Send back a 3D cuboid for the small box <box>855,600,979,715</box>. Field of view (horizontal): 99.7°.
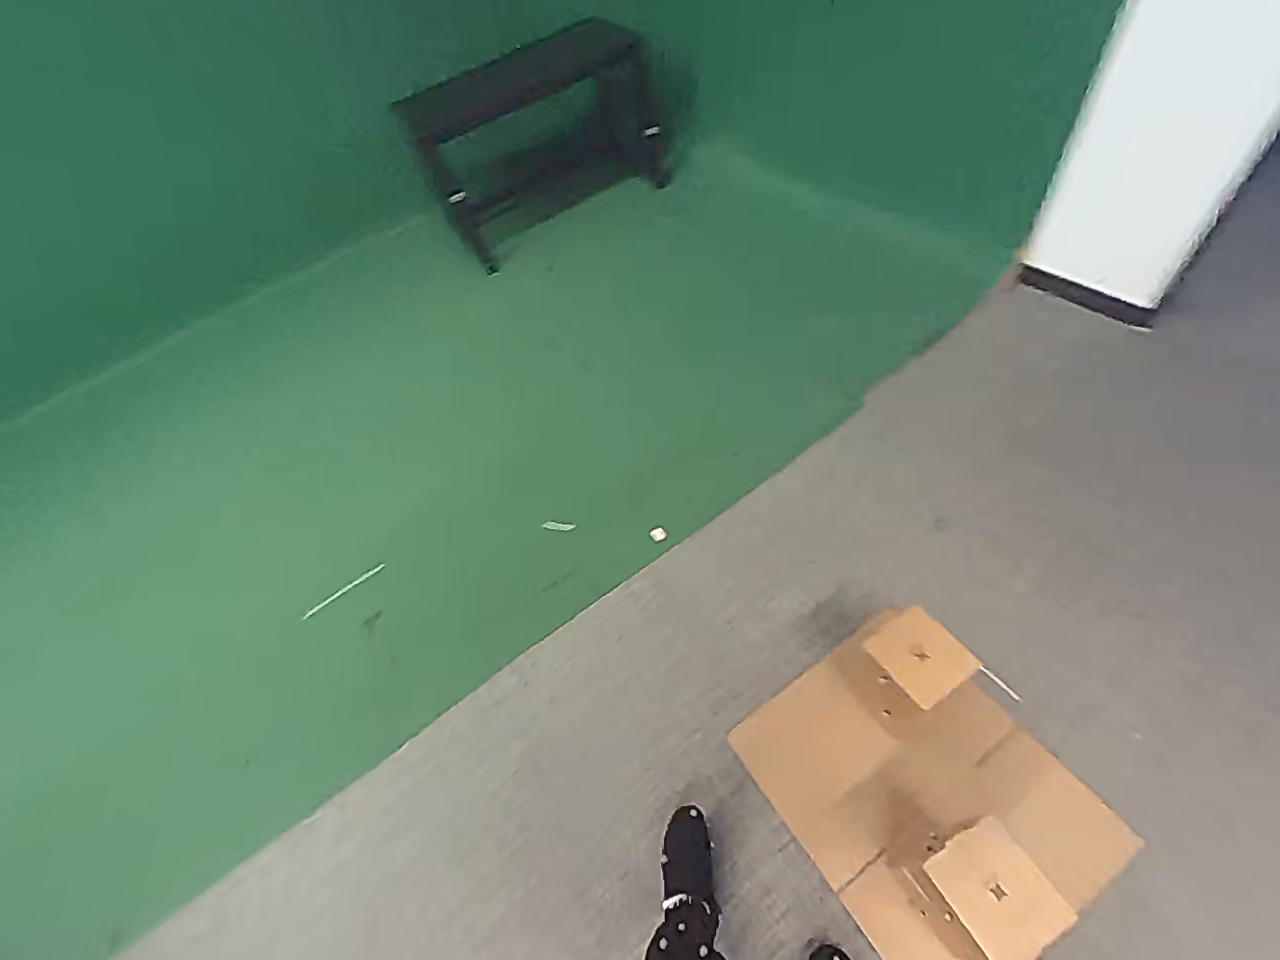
[{"bbox_3d":[0.622,0.413,1.236,0.168,0.176,0.179,-32,54,-9],"label":"small box"}]

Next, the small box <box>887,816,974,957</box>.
[{"bbox_3d":[0.656,0.841,1.135,0.168,0.176,0.179,-31,55,-9],"label":"small box"}]

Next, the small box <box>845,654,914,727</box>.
[{"bbox_3d":[0.649,0.500,1.369,0.168,0.176,0.179,-32,54,-10],"label":"small box"}]

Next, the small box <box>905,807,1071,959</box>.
[{"bbox_3d":[0.627,0.746,1.004,0.168,0.176,0.179,-29,54,-7],"label":"small box"}]
